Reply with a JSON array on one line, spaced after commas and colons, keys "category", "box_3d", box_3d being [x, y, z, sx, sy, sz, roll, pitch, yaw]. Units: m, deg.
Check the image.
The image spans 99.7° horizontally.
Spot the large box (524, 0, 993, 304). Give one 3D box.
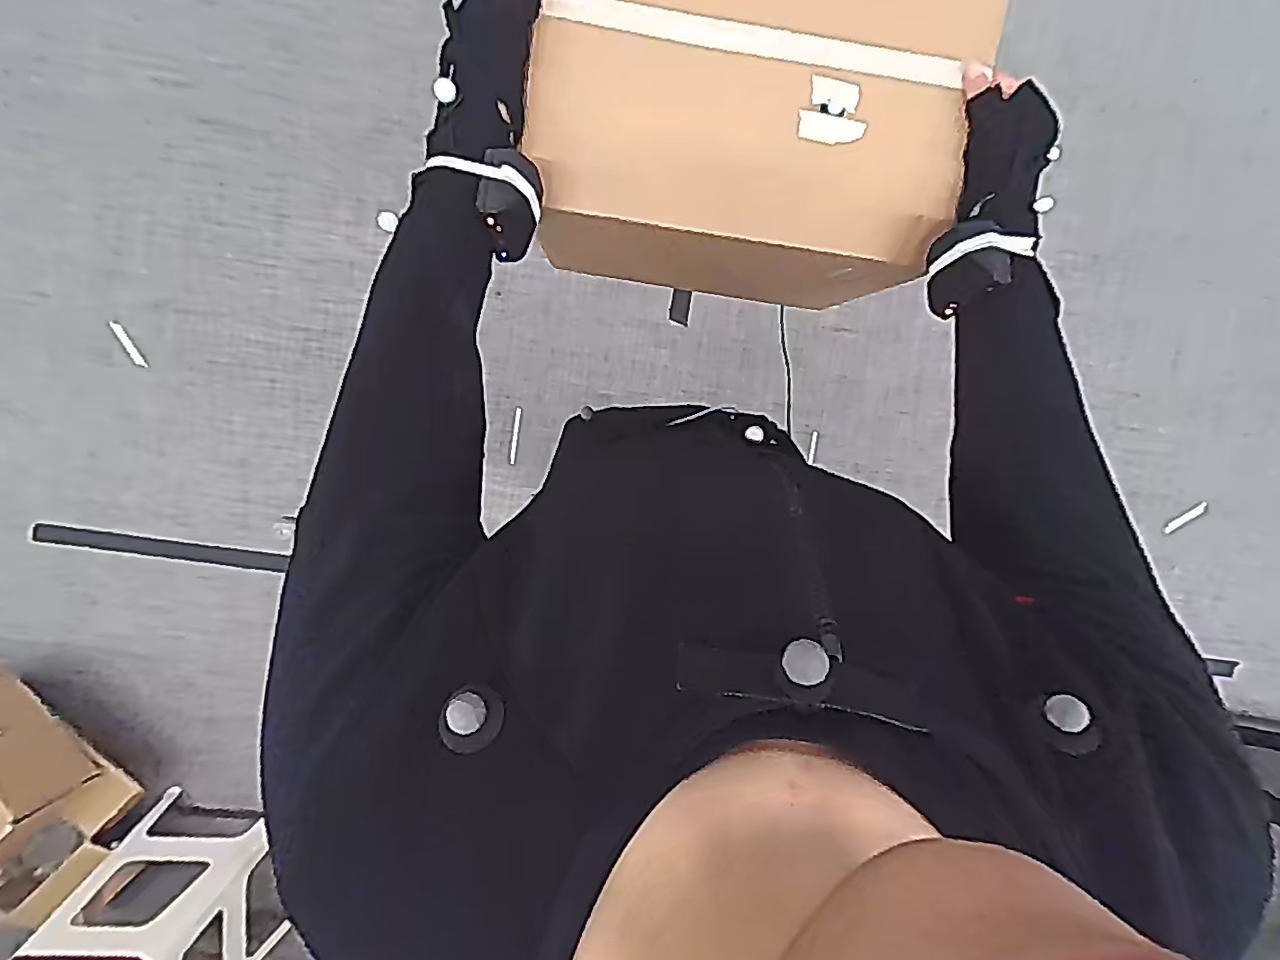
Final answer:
[{"category": "large box", "box_3d": [0.097, -0.405, 0.623, 0.408, 0.320, 0.320, 7, 101, -5]}]
